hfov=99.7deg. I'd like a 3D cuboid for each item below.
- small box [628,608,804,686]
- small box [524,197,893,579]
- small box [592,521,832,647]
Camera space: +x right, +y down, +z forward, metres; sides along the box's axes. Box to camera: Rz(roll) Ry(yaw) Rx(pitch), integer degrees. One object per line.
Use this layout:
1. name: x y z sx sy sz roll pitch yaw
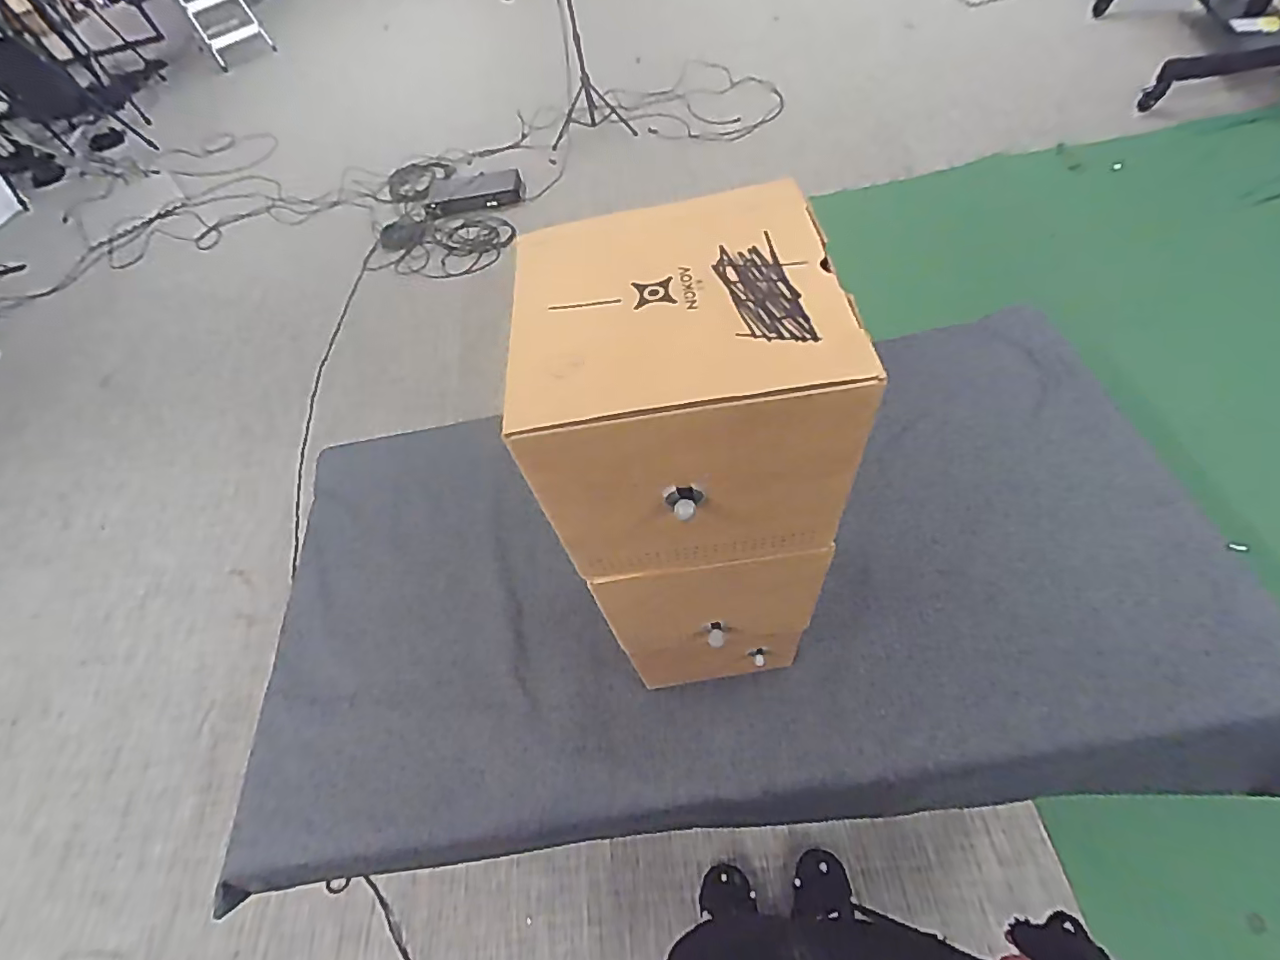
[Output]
1. small box: 0.075 0.128 0.632 0.179 0.176 0.168 -12 55 3
2. small box: 0.031 -0.051 0.360 0.179 0.176 0.168 -10 56 1
3. small box: 0.054 0.041 0.495 0.179 0.176 0.168 -9 55 3
